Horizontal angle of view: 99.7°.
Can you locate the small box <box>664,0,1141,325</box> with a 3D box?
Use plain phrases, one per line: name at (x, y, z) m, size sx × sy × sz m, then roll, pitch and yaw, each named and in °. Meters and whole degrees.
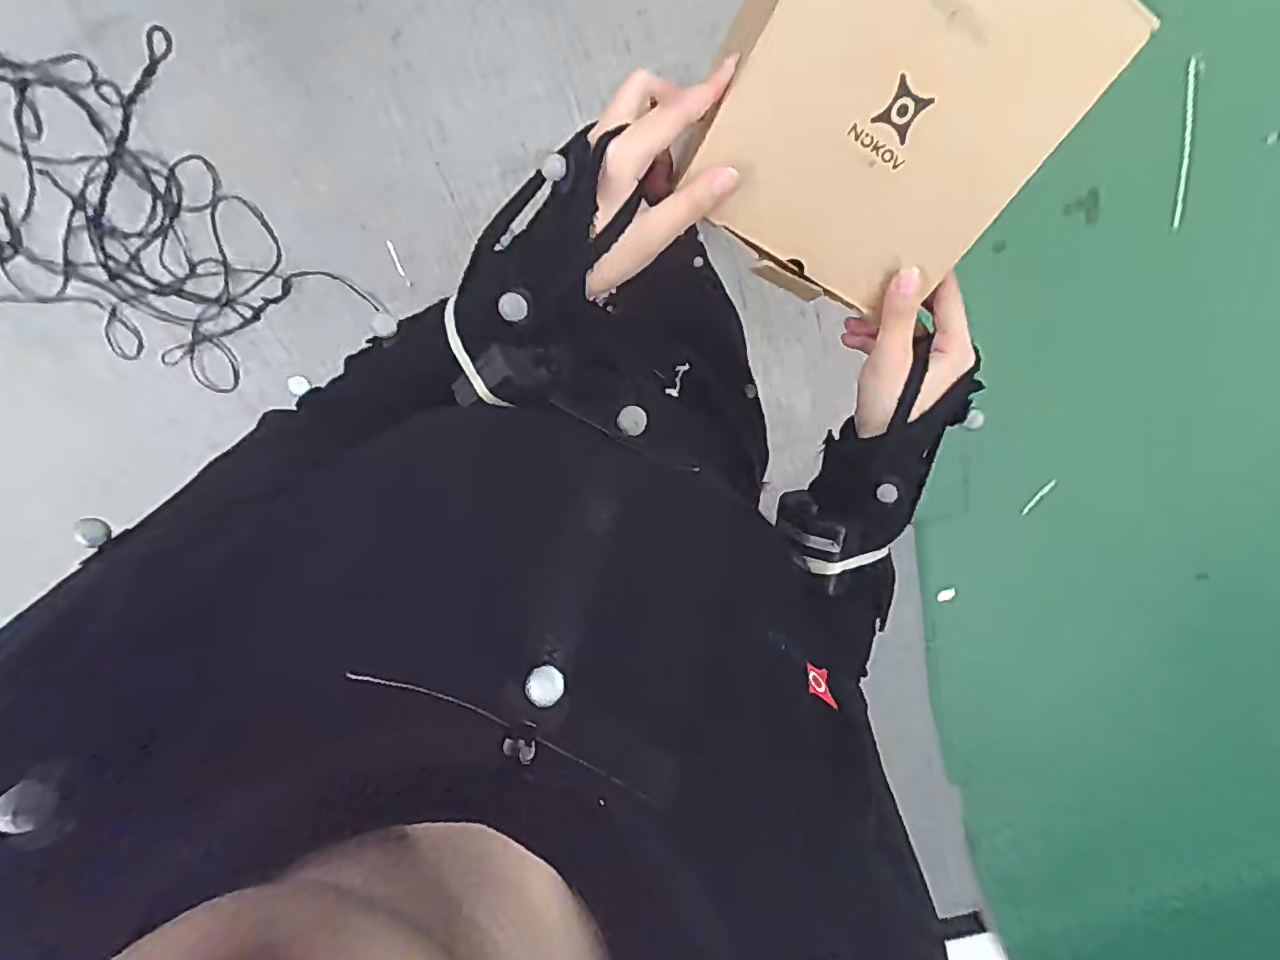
small box at (0.125, -0.234, 0.340) m, size 0.168 × 0.176 × 0.179 m, roll 22°, pitch 121°, yaw -16°
